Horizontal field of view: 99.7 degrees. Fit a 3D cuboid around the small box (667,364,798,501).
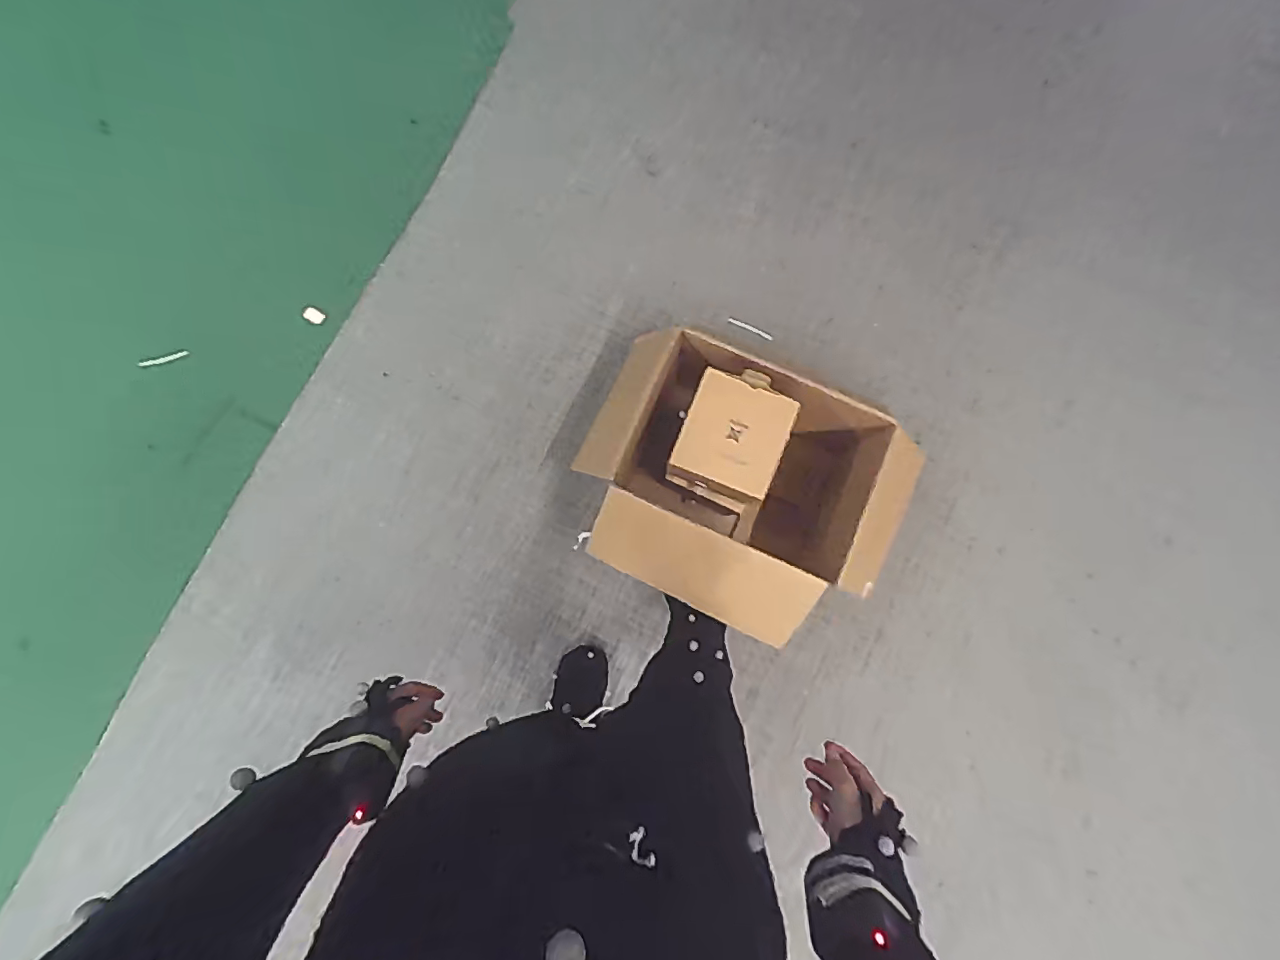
[{"bbox_3d":[0.151,-0.074,0.955,0.168,0.176,0.179,22,86,3],"label":"small box"}]
